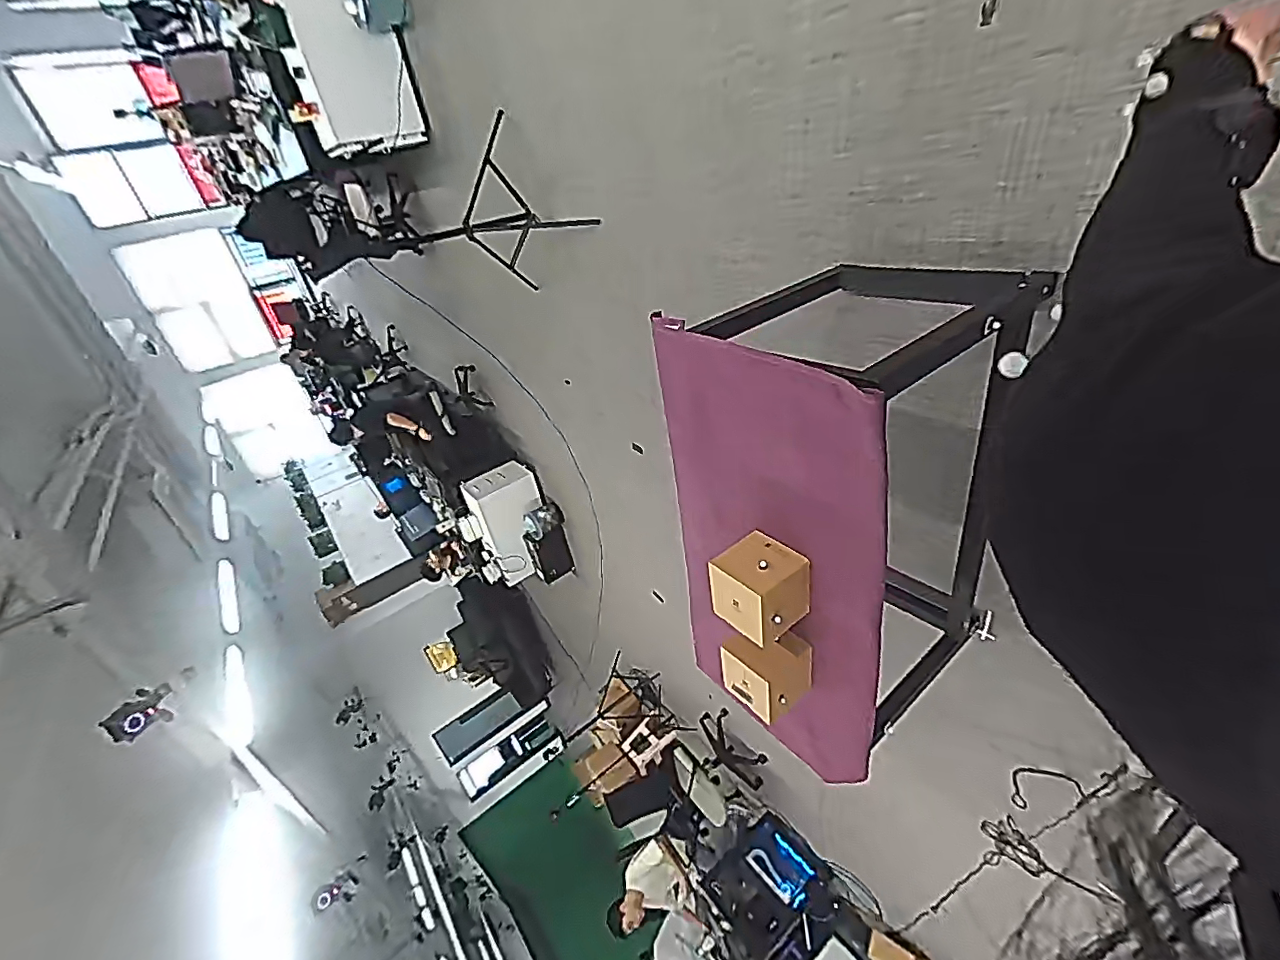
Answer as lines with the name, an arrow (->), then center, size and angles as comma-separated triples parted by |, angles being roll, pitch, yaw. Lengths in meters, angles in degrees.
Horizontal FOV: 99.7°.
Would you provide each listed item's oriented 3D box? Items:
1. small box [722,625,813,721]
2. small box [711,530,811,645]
small box -> 0.341, 0.489, 1.437 | 0.168, 0.176, 0.179 | 29, 139, 46
small box -> 0.291, 0.247, 1.293 | 0.168, 0.176, 0.179 | 30, 141, 46
